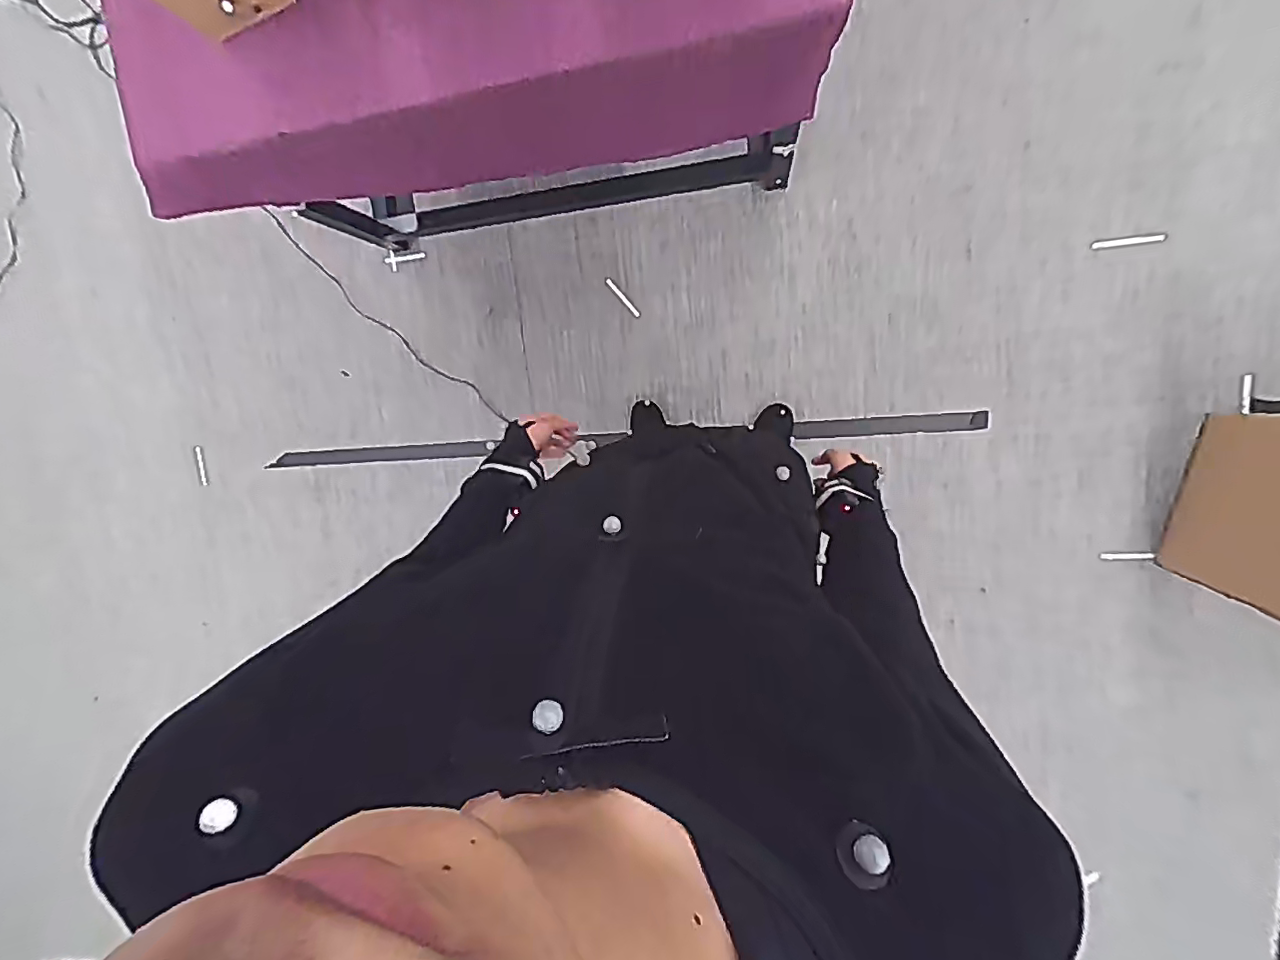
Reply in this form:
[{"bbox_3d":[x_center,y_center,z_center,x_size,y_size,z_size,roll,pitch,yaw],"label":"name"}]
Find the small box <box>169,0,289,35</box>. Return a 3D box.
[{"bbox_3d":[-0.659,-0.815,0.786,0.168,0.176,0.179,-13,97,13],"label":"small box"}]
